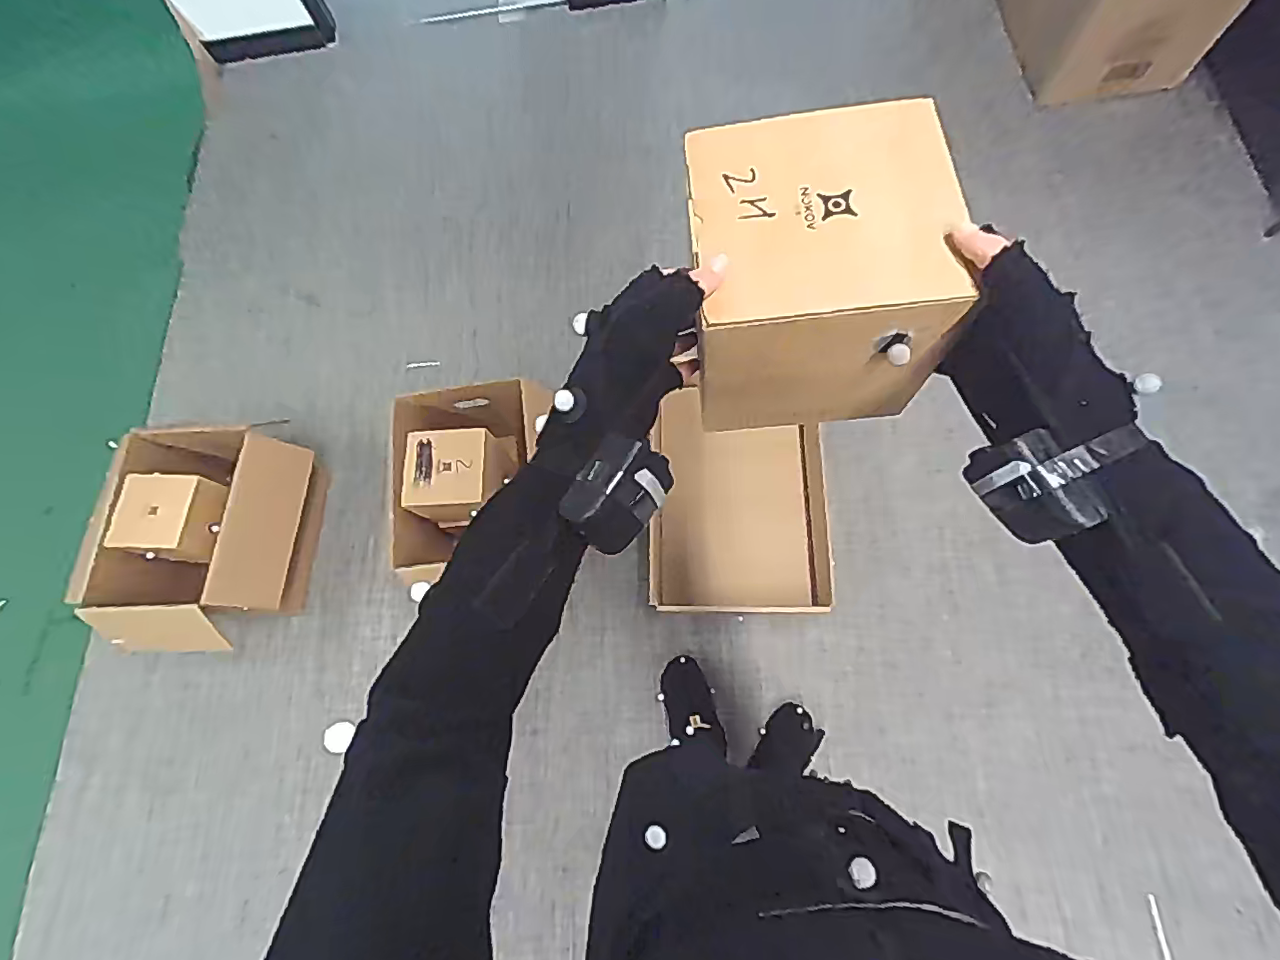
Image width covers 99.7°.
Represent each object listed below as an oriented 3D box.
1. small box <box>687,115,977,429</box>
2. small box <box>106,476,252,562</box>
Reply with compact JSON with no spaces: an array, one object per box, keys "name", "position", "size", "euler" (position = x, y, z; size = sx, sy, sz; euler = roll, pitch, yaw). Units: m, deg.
[{"name":"small box","position":[0.131,-0.154,0.447],"size":[0.179,0.176,0.168],"euler":[-5,70,5]},{"name":"small box","position":[-1.055,0.094,1.256],"size":[0.179,0.176,0.168],"euler":[1,72,5]}]
